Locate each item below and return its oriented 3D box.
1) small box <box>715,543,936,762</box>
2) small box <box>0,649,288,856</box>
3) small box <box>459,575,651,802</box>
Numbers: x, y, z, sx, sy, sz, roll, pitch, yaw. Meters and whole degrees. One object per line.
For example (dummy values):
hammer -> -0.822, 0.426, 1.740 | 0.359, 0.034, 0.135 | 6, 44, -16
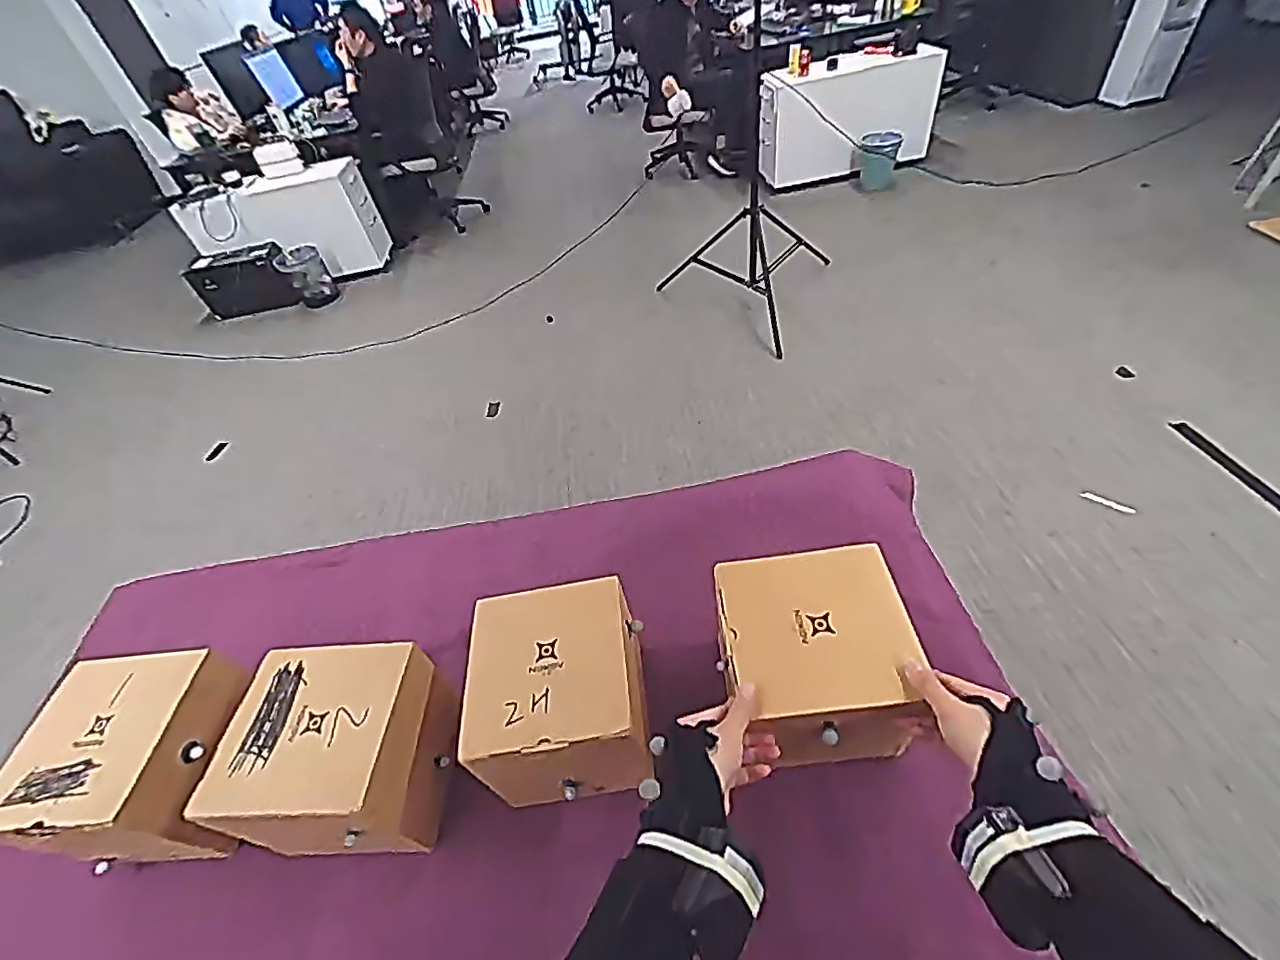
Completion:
small box -> 0.181, 0.190, 0.586 | 0.179, 0.176, 0.168 | -9, 48, 5
small box -> -0.556, 0.320, 0.626 | 0.168, 0.176, 0.179 | -6, 46, 4
small box -> -0.085, 0.237, 0.614 | 0.168, 0.176, 0.179 | -10, 45, 2
